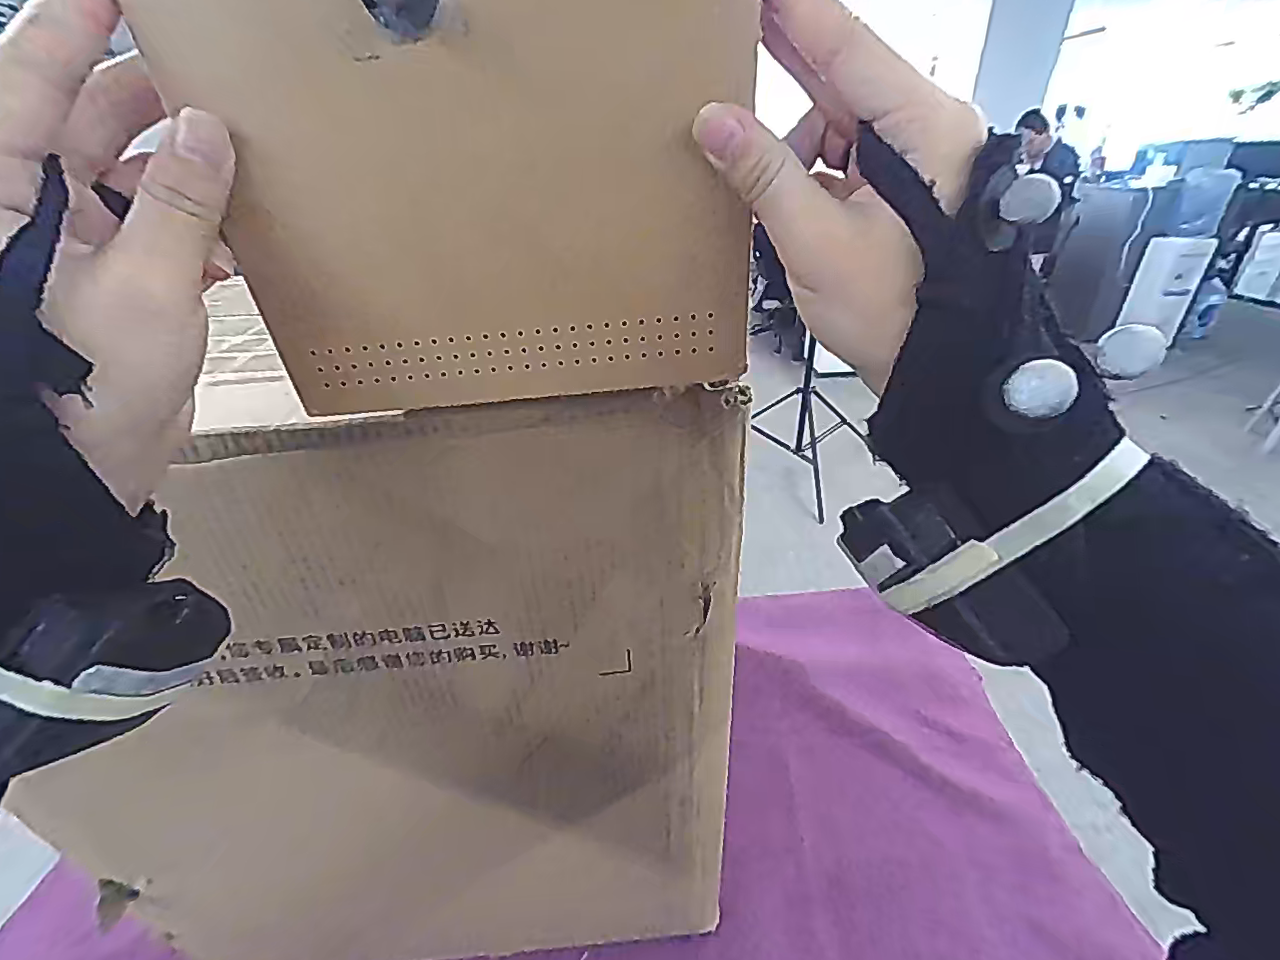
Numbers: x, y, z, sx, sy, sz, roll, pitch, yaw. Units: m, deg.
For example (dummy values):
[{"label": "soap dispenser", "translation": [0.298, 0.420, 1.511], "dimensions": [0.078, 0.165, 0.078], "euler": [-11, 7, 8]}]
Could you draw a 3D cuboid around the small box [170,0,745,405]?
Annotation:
[{"label": "small box", "translation": [-0.053, -0.141, 0.239], "dimensions": [0.179, 0.176, 0.168], "euler": [-5, 33, -1]}]
